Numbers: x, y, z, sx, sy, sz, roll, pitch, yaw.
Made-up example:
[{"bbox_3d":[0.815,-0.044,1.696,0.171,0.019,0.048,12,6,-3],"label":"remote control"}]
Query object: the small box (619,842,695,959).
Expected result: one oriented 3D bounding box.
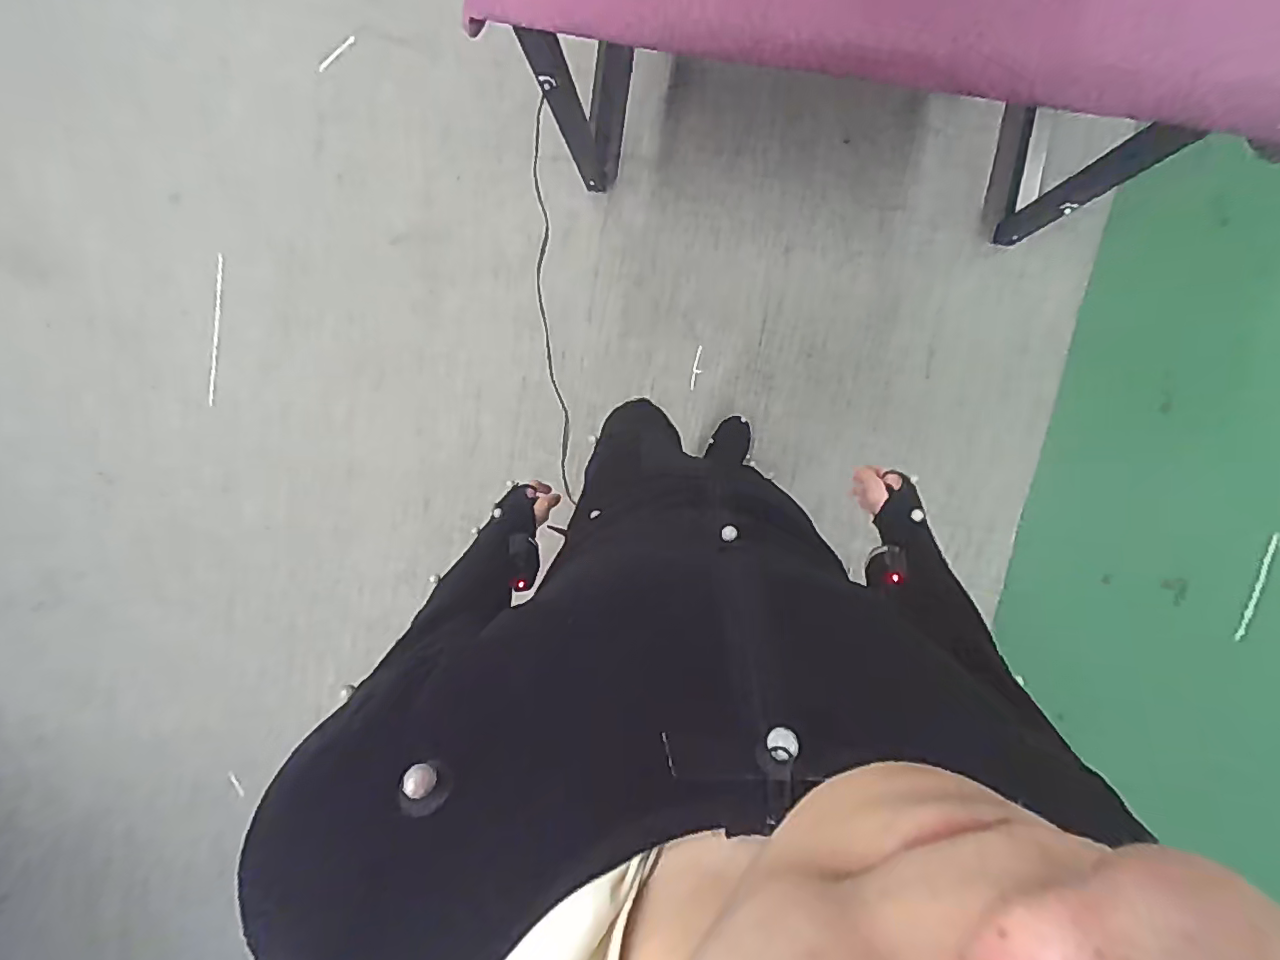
[{"bbox_3d":[0.052,1.130,1.450,0.168,0.176,0.179,13,99,4],"label":"small box"}]
